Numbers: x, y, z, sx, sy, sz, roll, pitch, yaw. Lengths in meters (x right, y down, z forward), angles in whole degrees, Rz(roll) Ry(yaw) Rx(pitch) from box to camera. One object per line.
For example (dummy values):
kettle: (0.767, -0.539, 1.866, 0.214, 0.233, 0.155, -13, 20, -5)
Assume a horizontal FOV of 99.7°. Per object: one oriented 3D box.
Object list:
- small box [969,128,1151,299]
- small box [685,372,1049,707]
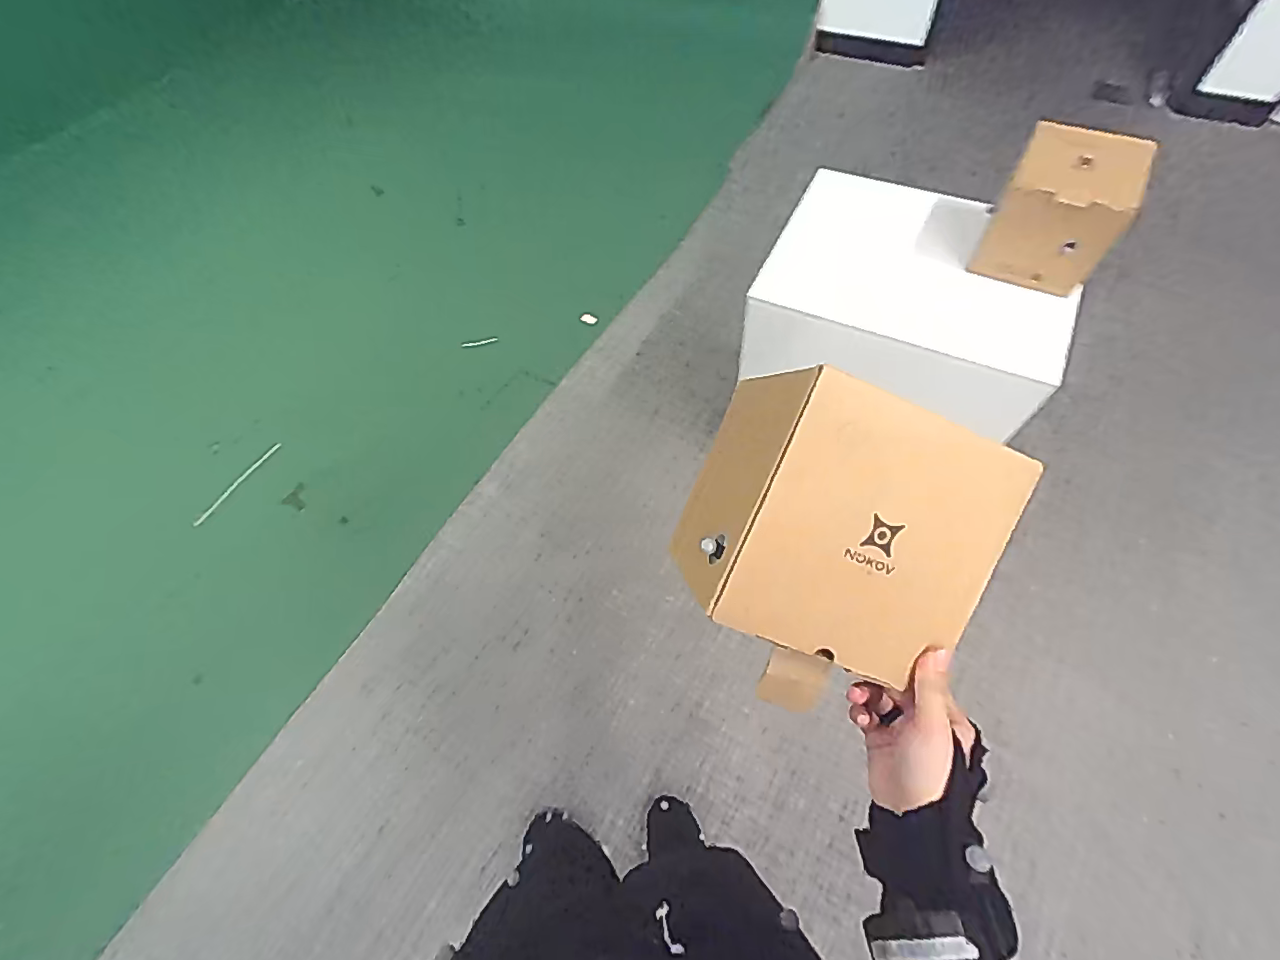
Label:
small box: (0.673, -0.431, 0.887, 0.168, 0.176, 0.179, 25, 67, 18)
small box: (0.149, 0.032, 0.421, 0.168, 0.176, 0.179, 23, 95, -9)
